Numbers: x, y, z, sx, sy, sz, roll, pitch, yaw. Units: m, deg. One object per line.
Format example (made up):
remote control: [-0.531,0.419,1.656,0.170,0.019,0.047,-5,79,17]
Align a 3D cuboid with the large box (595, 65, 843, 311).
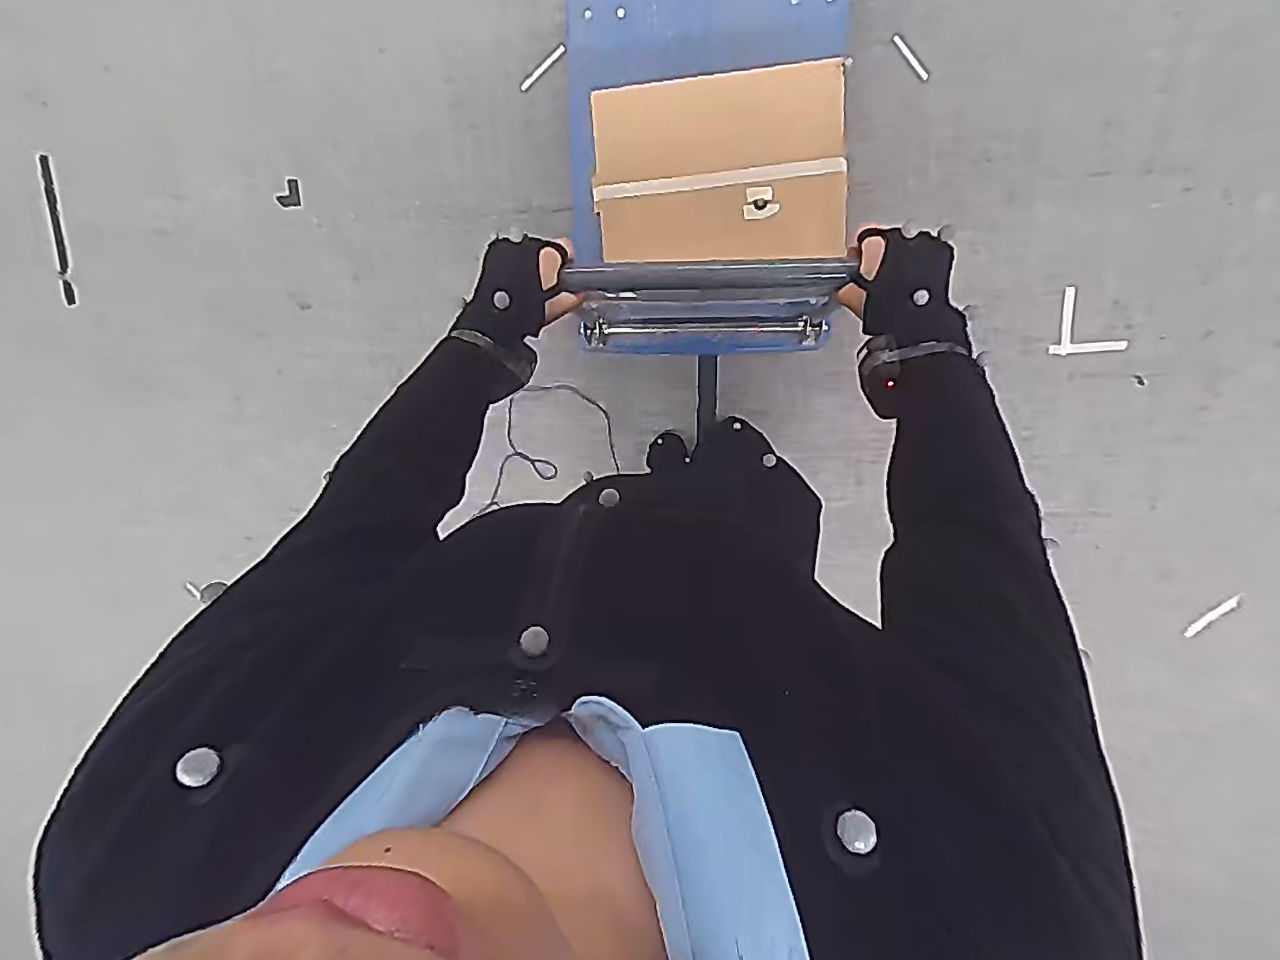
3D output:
large box: [0.144,-0.522,1.047,0.408,0.320,0.320,-3,101,6]
